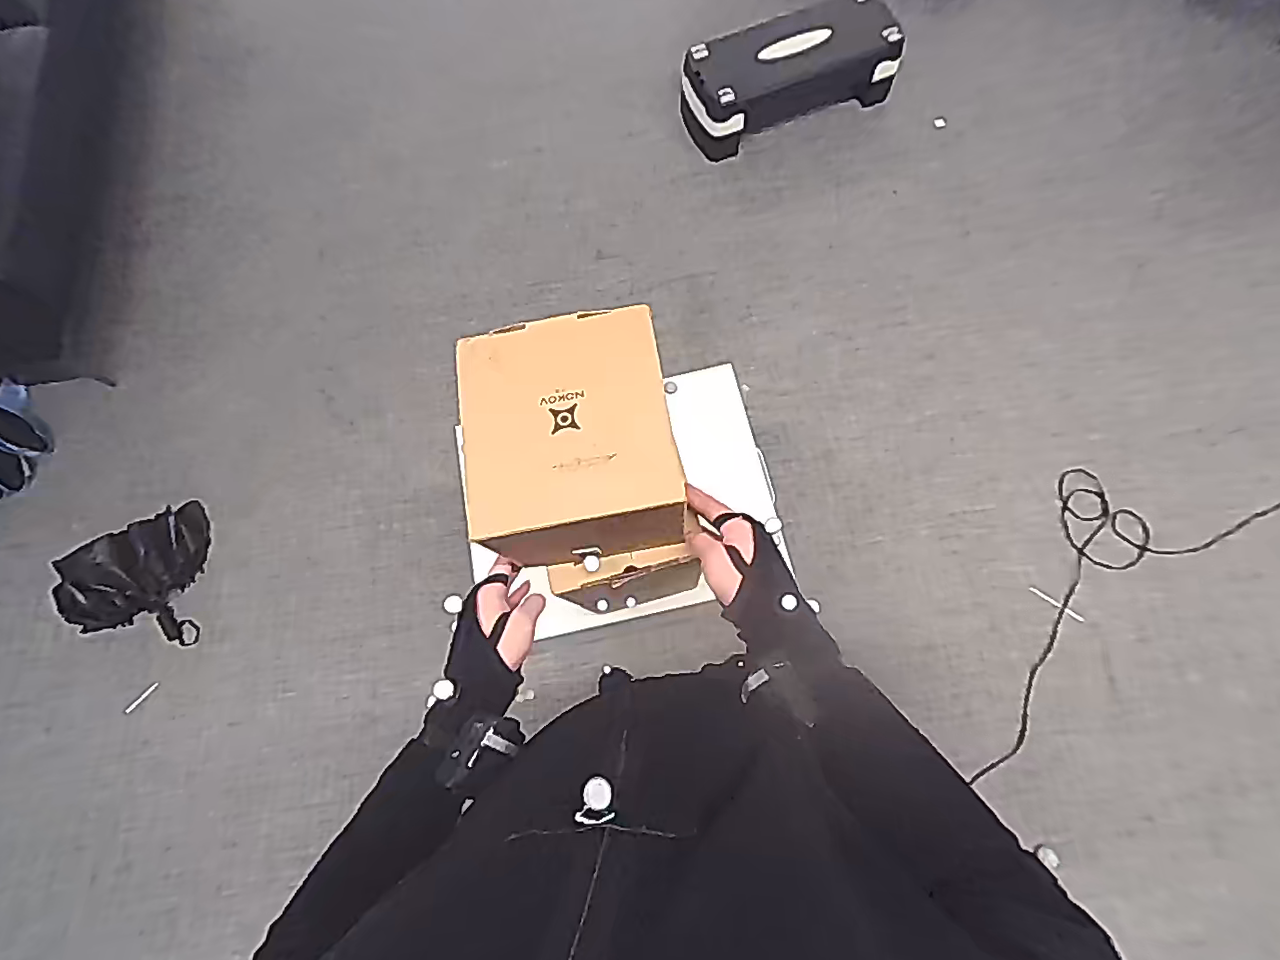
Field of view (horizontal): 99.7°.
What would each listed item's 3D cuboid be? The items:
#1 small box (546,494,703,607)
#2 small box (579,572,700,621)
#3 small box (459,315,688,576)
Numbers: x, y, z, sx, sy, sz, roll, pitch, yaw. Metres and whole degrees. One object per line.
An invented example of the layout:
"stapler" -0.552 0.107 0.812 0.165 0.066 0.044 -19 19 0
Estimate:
"small box" -0.027 0.048 0.650 0.168 0.176 0.179 -15 70 -2
"small box" -0.016 0.100 0.807 0.168 0.176 0.179 -16 71 -1
"small box" -0.054 -0.021 0.503 0.168 0.176 0.179 -11 72 0
